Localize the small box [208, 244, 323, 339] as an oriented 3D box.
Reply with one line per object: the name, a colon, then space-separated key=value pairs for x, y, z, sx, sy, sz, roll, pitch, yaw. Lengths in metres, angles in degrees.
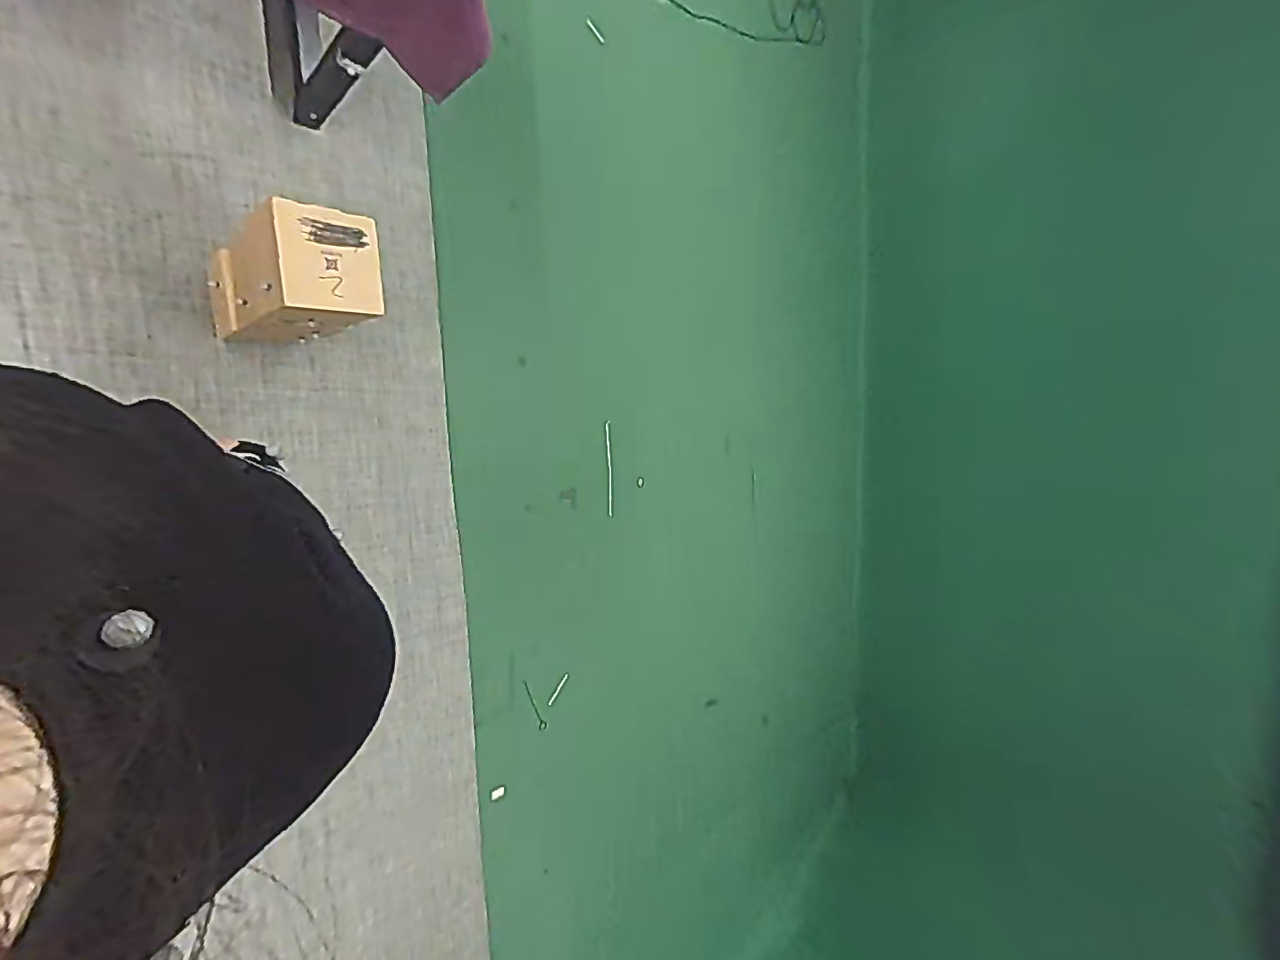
small box: x=-0.845 y=-0.413 z=1.216 sx=0.179 sy=0.176 sz=0.168 roll=-13 pitch=103 yaw=-46
